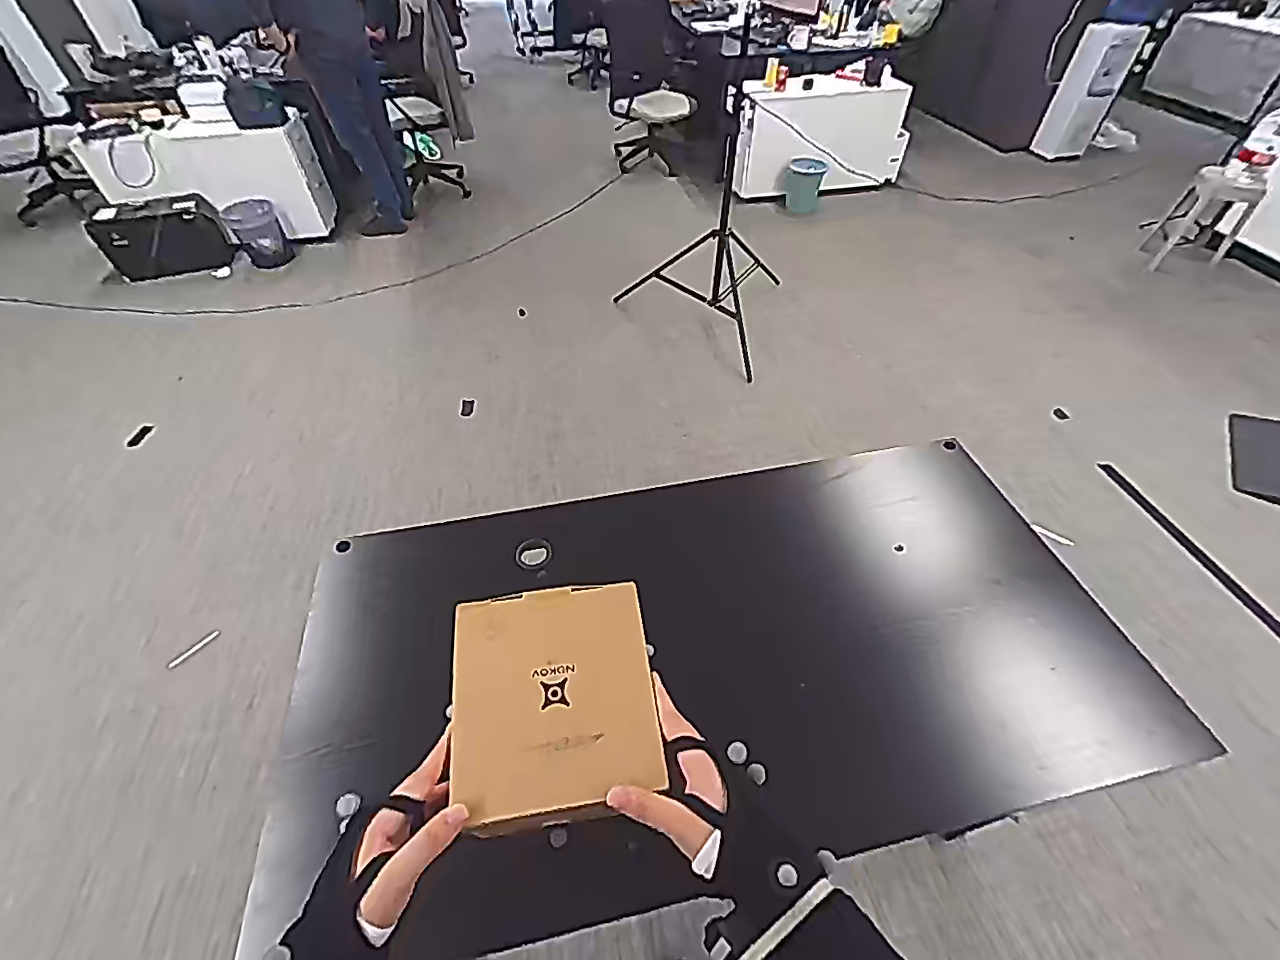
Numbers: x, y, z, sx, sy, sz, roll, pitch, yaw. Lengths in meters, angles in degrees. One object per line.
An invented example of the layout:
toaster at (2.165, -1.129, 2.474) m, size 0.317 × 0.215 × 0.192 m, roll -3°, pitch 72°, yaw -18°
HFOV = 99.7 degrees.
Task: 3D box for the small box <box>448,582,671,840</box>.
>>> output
small box at (-0.073, 0.218, 0.506) m, size 0.168 × 0.176 × 0.179 m, roll -6°, pitch 55°, yaw -8°
